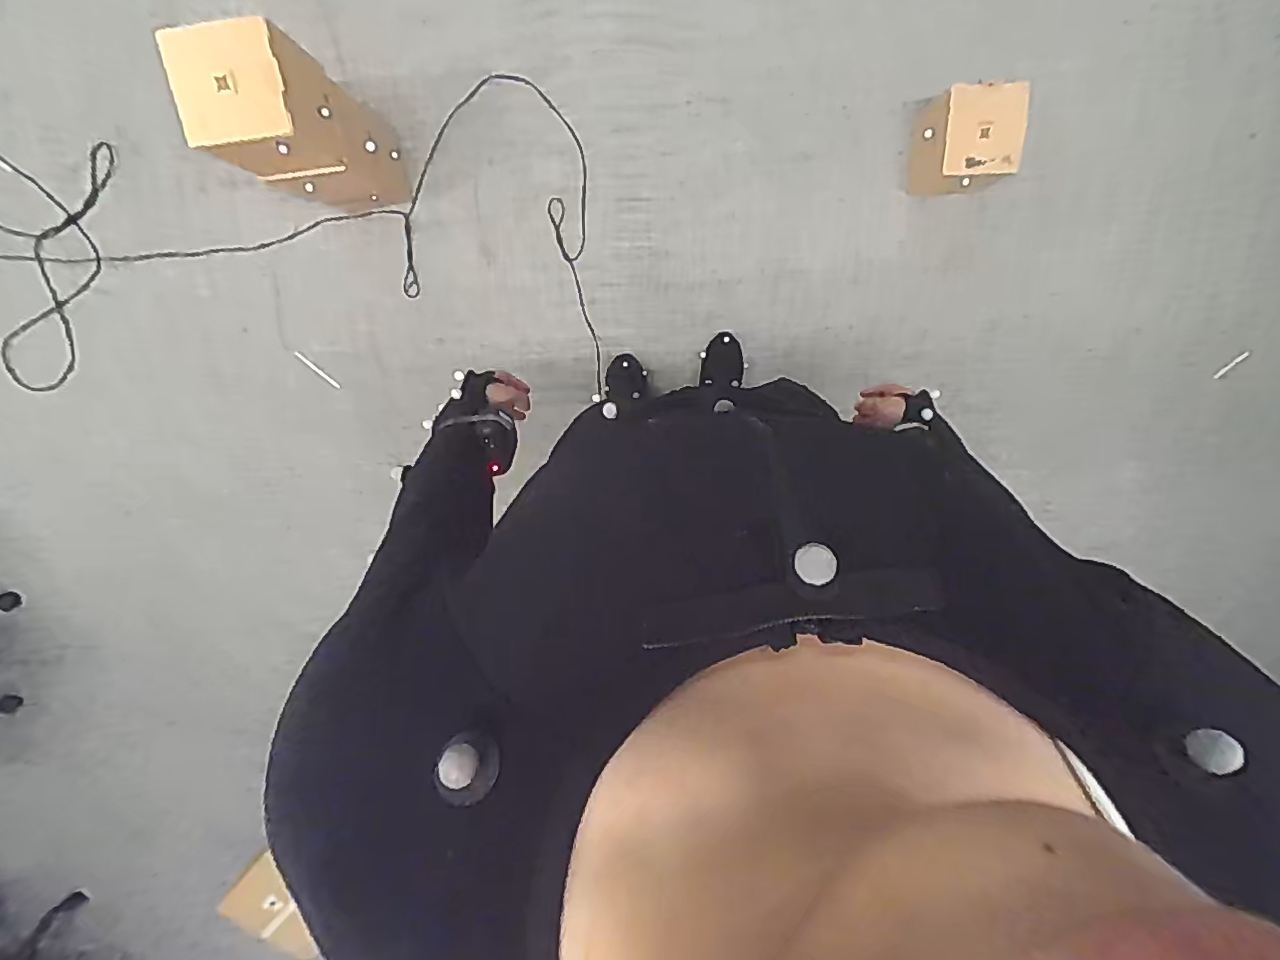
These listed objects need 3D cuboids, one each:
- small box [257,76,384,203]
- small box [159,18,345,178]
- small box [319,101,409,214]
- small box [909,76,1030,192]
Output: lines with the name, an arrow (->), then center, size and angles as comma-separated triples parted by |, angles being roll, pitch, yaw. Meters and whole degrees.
small box -> -0.651, -0.673, 1.087 | 0.179, 0.176, 0.168 | -7, 104, 2
small box -> -0.650, -0.639, 0.928 | 0.179, 0.176, 0.168 | -8, 104, 2
small box -> -0.654, -0.730, 1.242 | 0.179, 0.176, 0.168 | -10, 103, 4
small box -> 0.727, -0.767, 1.213 | 0.168, 0.176, 0.179 | -2, 104, 1
